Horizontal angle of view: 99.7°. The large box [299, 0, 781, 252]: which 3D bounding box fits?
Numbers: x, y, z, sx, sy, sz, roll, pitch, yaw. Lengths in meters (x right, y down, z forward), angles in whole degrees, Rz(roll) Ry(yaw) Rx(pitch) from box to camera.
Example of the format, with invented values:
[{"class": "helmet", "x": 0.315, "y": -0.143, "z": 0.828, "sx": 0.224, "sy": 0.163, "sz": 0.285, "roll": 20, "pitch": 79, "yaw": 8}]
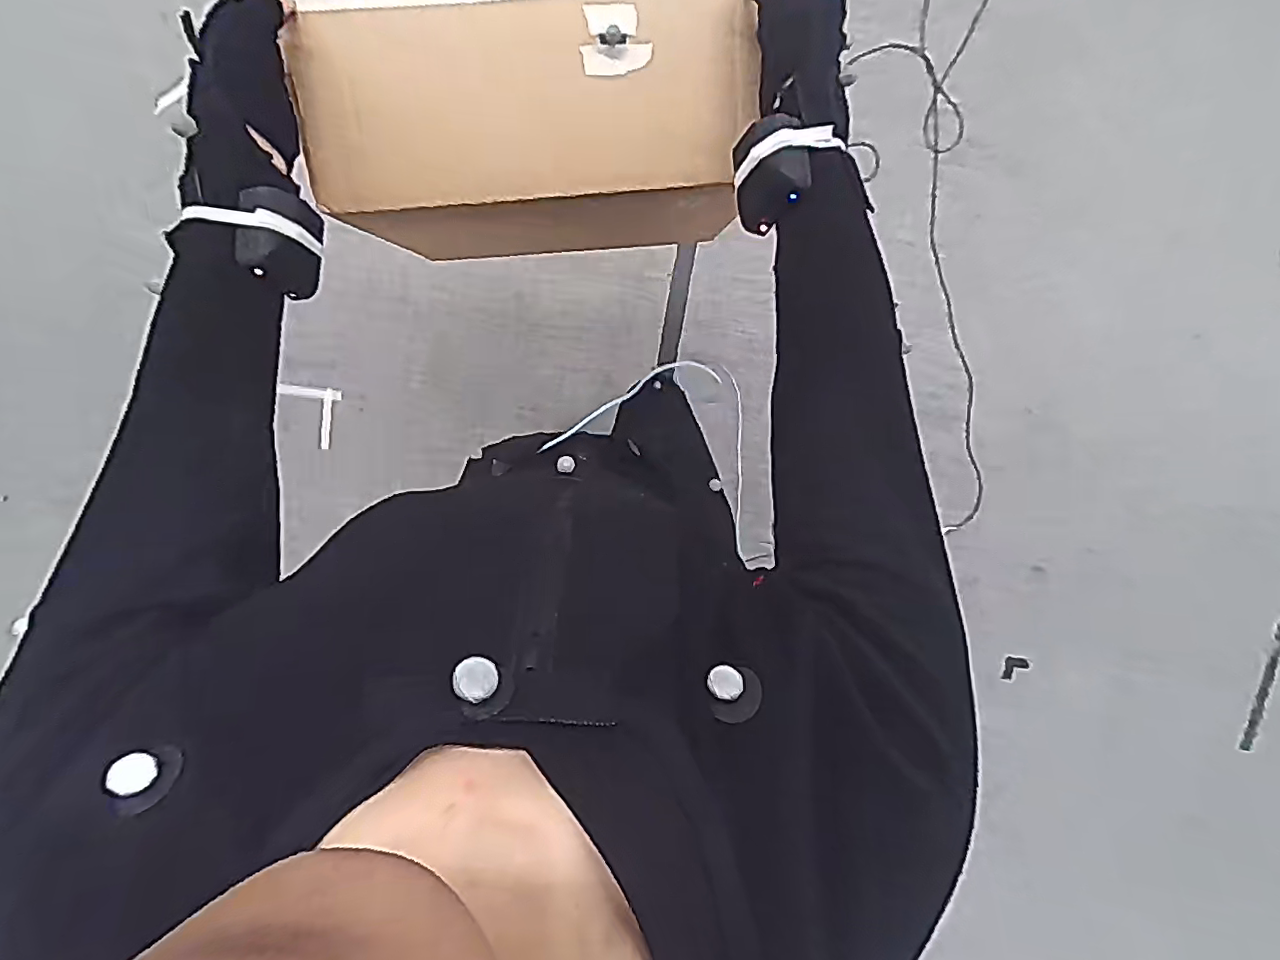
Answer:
[{"class": "large box", "x": -0.091, "y": -0.450, "z": 0.589, "sx": 0.408, "sy": 0.320, "sz": 0.320, "roll": -5, "pitch": 105, "yaw": -2}]
